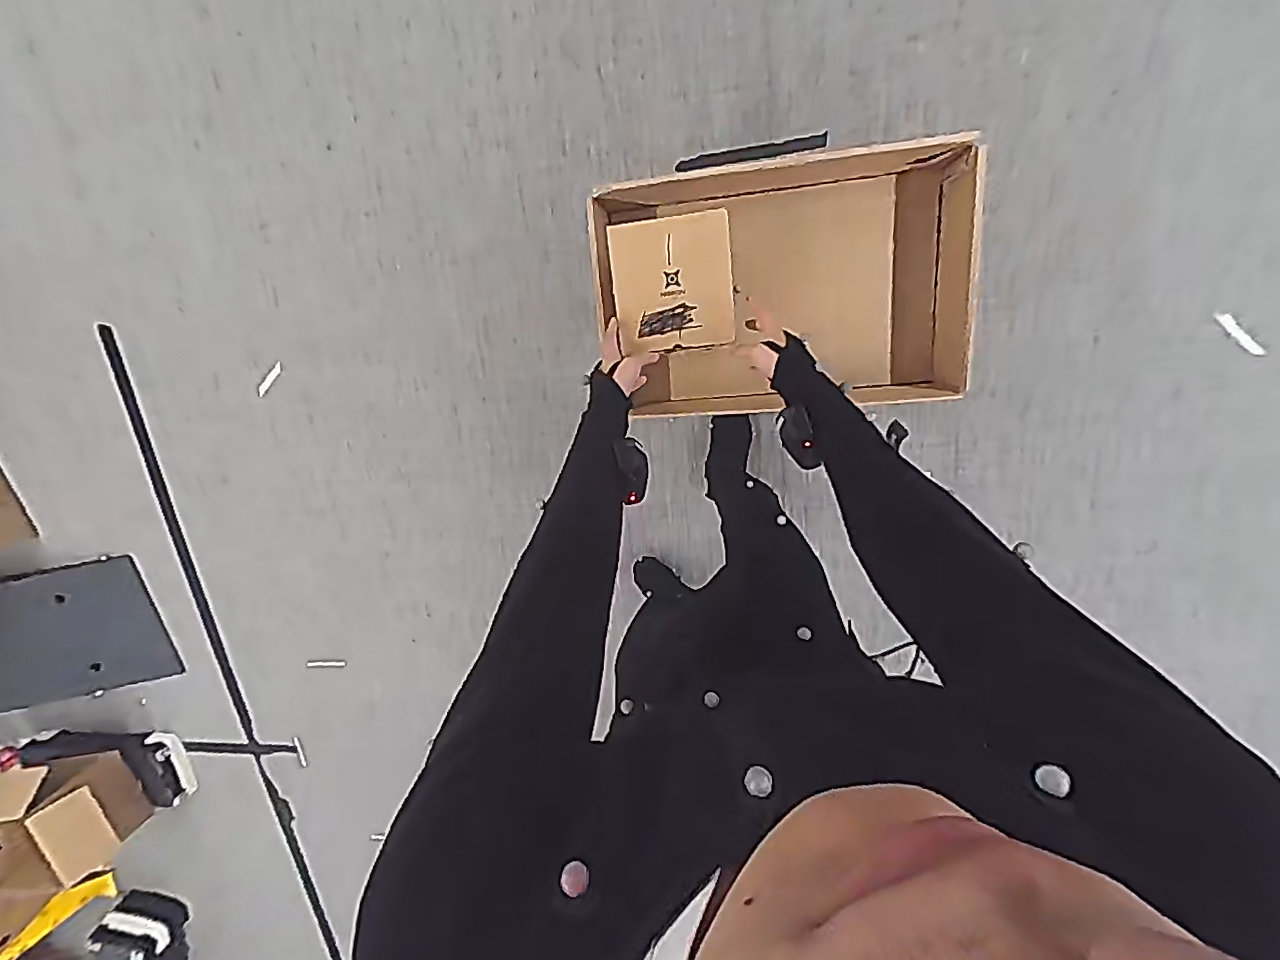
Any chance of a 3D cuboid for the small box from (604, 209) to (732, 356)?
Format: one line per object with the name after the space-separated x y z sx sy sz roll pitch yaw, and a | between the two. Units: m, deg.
0.051 -0.289 0.813 0.168 0.176 0.179 -4 105 10 | small box
